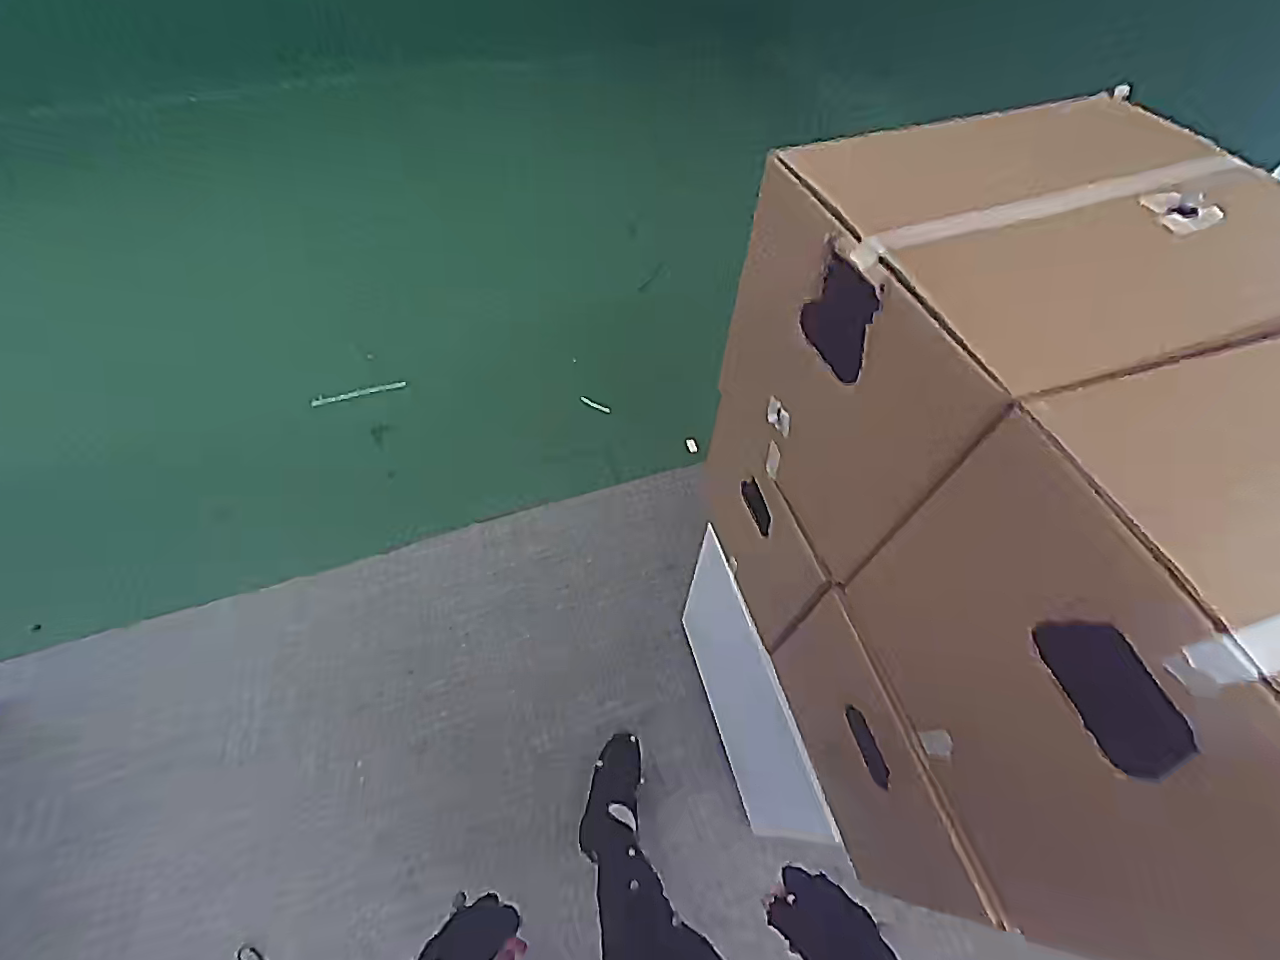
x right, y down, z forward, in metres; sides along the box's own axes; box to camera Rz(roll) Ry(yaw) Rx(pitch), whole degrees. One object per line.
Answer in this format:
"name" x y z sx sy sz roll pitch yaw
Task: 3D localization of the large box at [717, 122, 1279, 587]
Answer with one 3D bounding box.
"large box" 0.345 -0.135 0.587 0.408 0.320 0.320 -16 58 -14
